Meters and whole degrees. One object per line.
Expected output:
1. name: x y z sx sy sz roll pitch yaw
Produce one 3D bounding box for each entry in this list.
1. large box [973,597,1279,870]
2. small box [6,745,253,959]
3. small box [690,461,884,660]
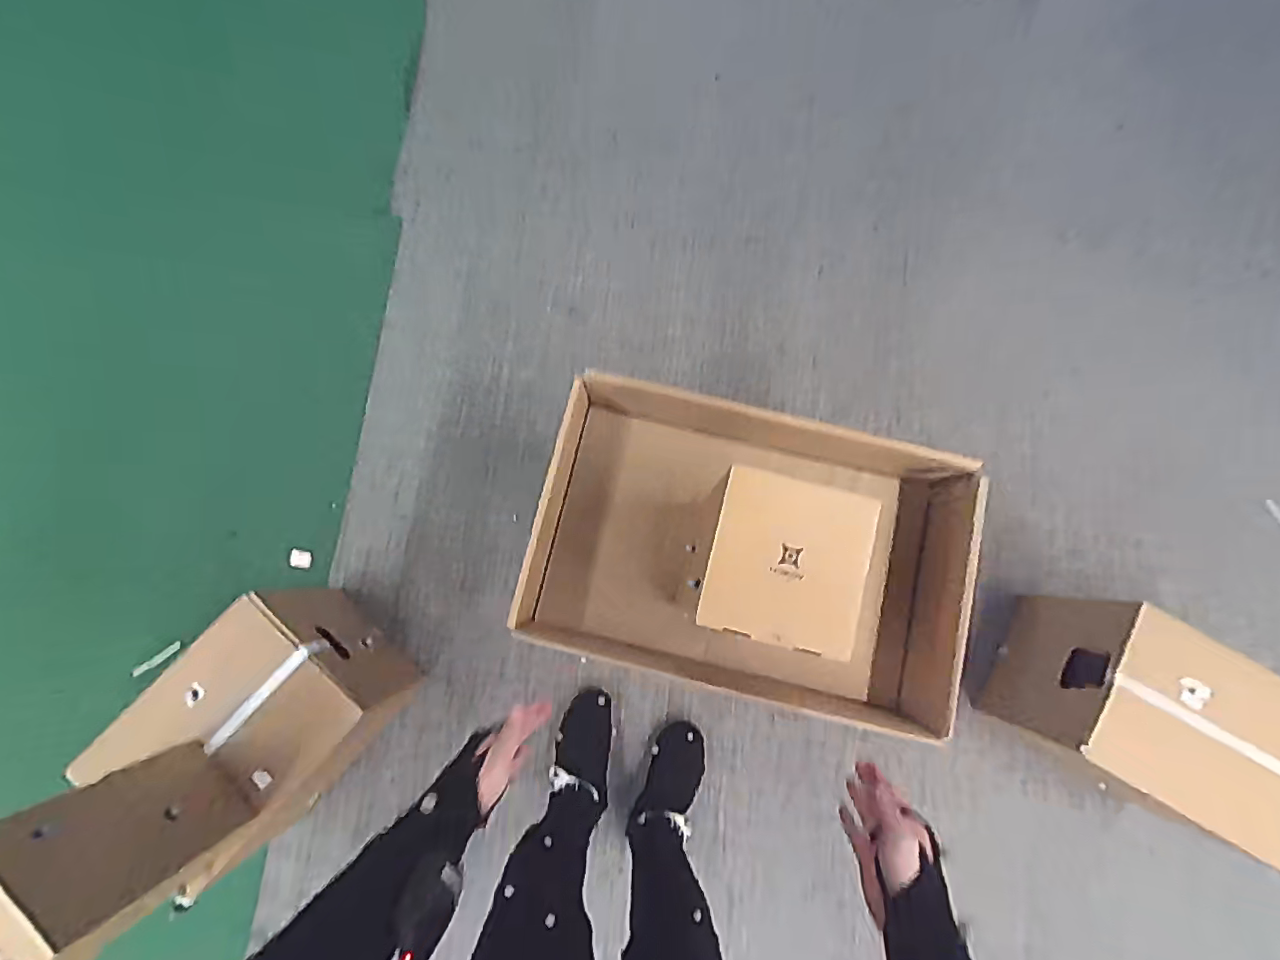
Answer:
1. large box: 1.018 0.480 1.119 0.408 0.320 0.320 30 80 5
2. small box: -0.744 0.537 0.812 0.168 0.176 0.179 -44 84 -9
3. small box: 0.161 0.095 0.645 0.168 0.176 0.179 14 81 2
